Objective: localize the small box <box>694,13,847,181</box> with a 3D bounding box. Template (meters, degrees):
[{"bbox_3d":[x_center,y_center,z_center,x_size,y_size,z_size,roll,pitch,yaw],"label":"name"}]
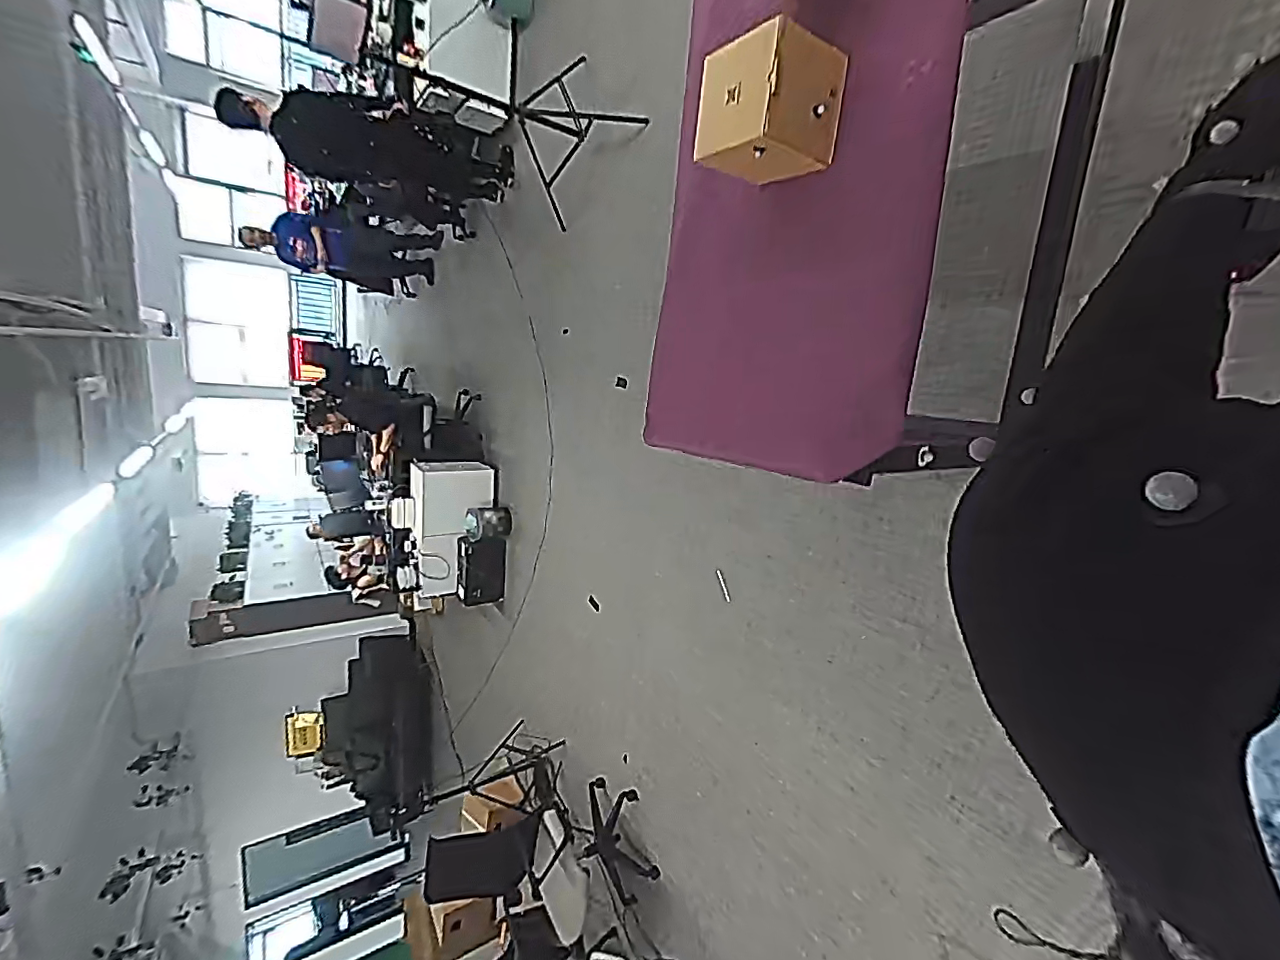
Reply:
[{"bbox_3d":[0.219,-0.634,0.925,0.179,0.176,0.168,24,112,53],"label":"small box"}]
